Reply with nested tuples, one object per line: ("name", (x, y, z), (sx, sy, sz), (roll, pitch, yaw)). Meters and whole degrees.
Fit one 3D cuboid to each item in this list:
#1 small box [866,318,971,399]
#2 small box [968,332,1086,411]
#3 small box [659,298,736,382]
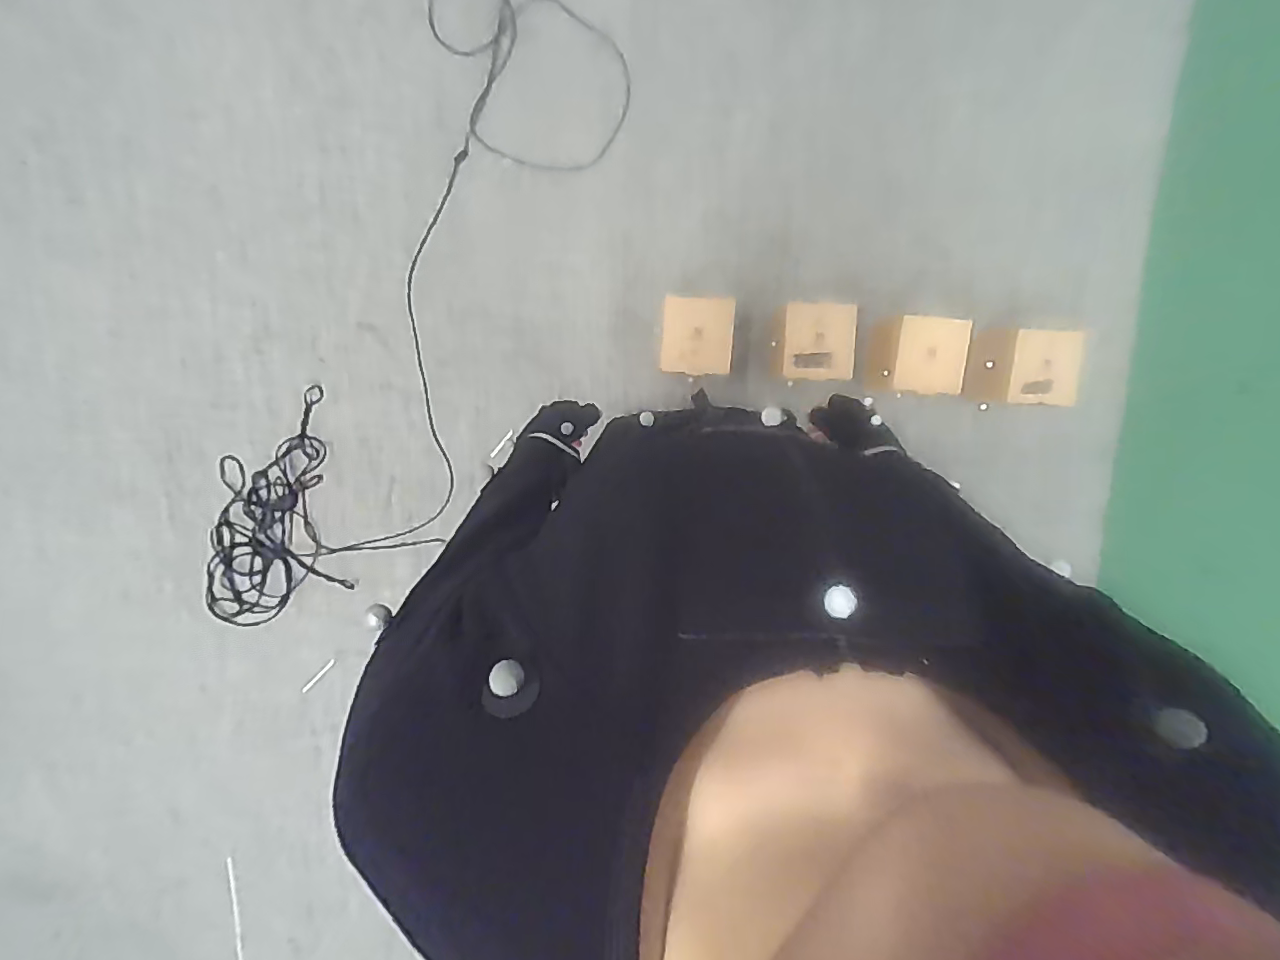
("small box", (0.684, -0.296, 1.346), (0.168, 0.176, 0.179), (4, 98, 0))
("small box", (0.951, -0.265, 1.347), (0.168, 0.176, 0.179), (4, 97, 0))
("small box", (0.137, -0.342, 1.344), (0.168, 0.176, 0.179), (4, 98, 1))
